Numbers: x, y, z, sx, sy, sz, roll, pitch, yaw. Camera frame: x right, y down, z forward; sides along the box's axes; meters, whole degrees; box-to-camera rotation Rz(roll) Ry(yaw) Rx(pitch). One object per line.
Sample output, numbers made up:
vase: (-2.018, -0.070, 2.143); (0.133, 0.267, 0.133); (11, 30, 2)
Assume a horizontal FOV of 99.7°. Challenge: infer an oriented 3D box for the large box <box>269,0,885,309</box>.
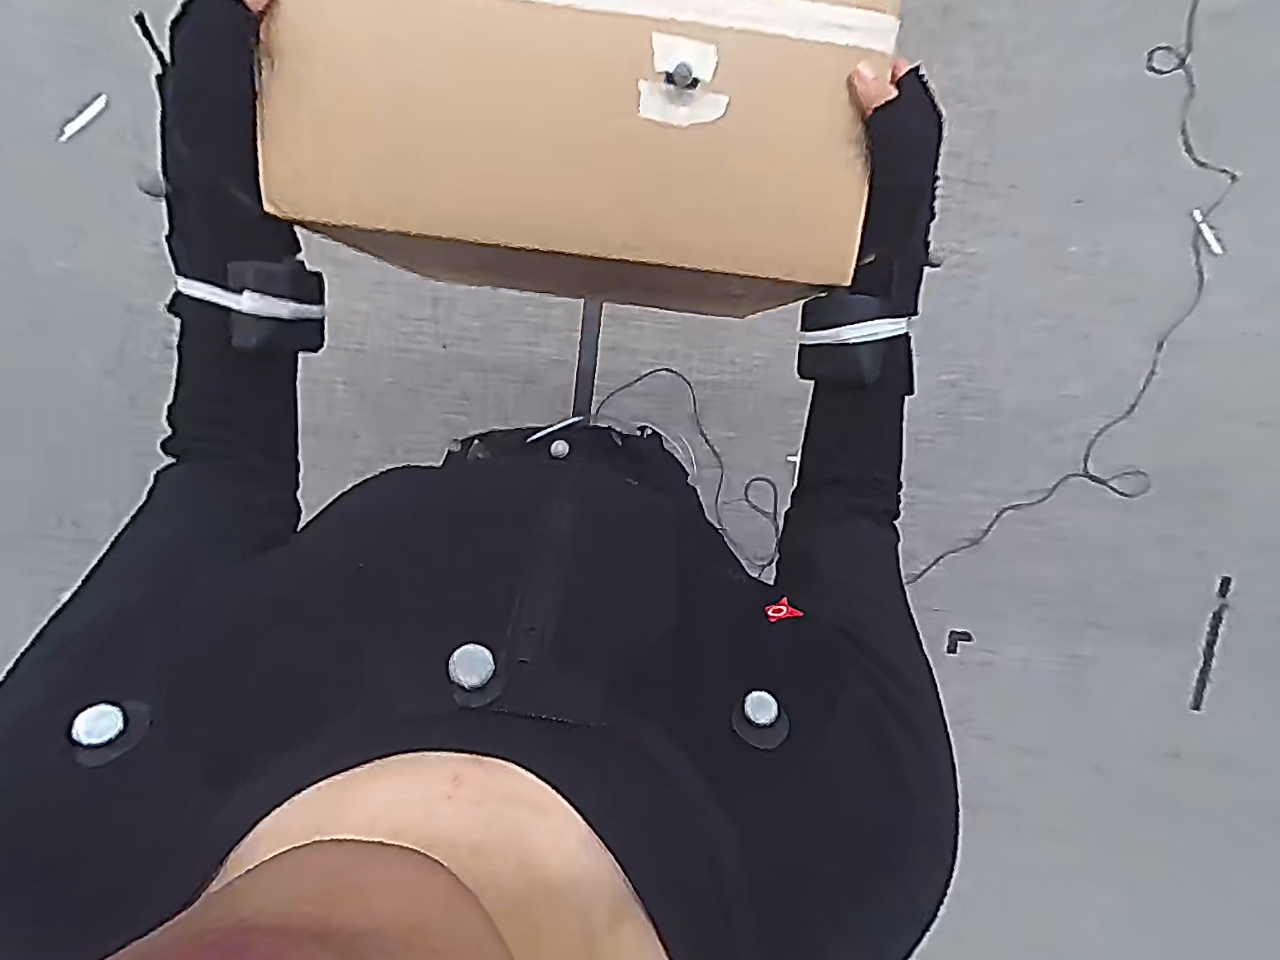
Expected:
large box: (-0.046, -0.346, 0.498); (0.408, 0.320, 0.320); (5, 104, -5)
